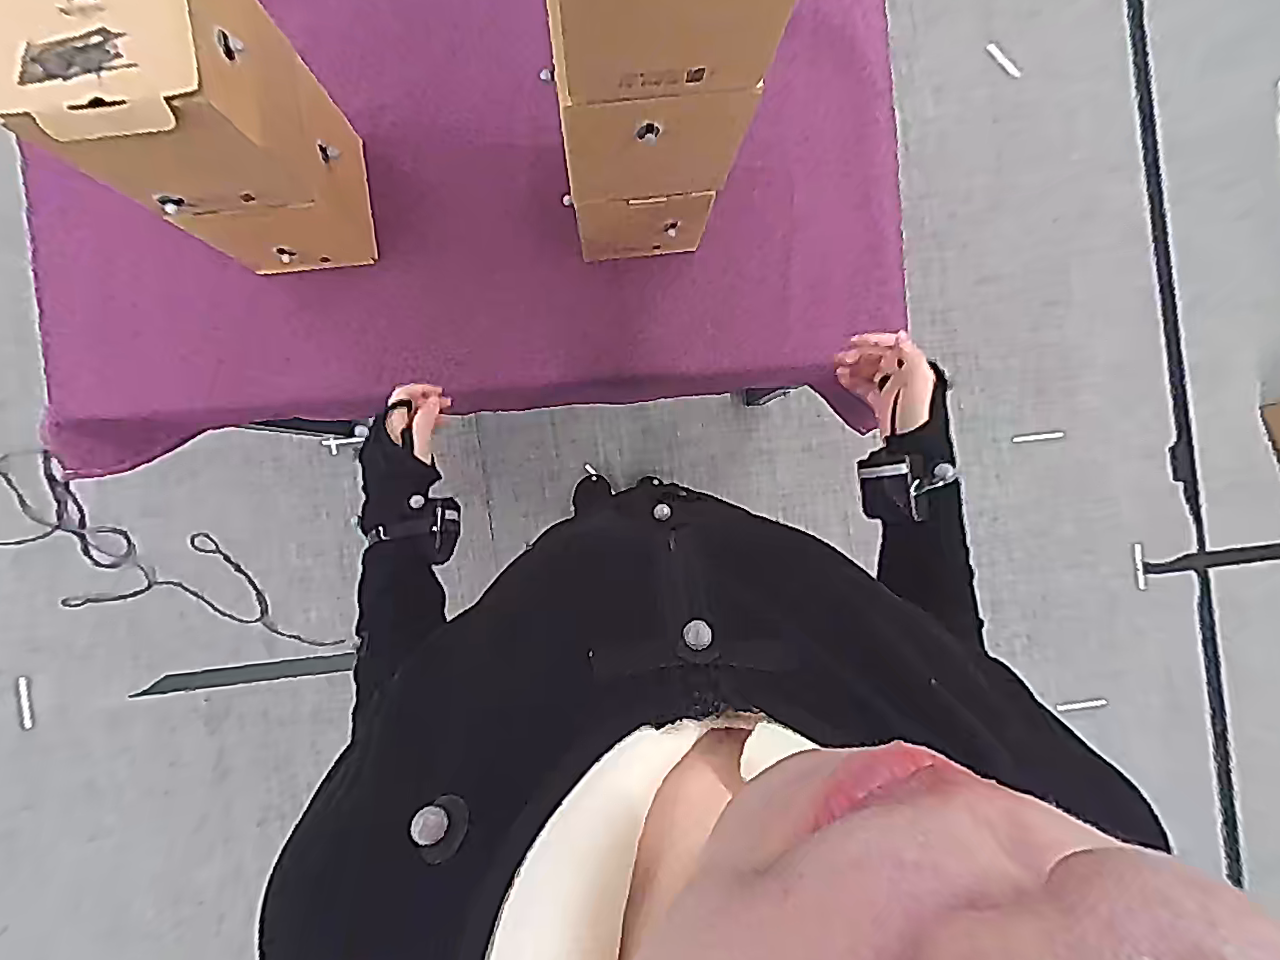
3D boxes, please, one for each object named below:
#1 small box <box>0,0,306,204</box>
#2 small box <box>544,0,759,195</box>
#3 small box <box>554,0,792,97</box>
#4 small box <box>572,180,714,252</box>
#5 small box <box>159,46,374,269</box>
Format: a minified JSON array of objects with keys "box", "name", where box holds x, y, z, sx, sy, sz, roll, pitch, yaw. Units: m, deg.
[{"box":[-0.446,-0.382,0.506,0.168,0.176,0.179,-9,91,-4],"name":"small box"},{"box":[0.003,-0.403,0.531,0.179,0.176,0.168,-7,92,-4],"name":"small box"},{"box":[0.017,-0.407,0.368,0.168,0.176,0.179,-7,91,-3],"name":"small box"},{"box":[-0.007,-0.409,0.695,0.168,0.176,0.179,-6,91,-4],"name":"small box"},{"box":[-0.455,-0.384,0.670,0.168,0.176,0.179,-7,92,-4],"name":"small box"}]
